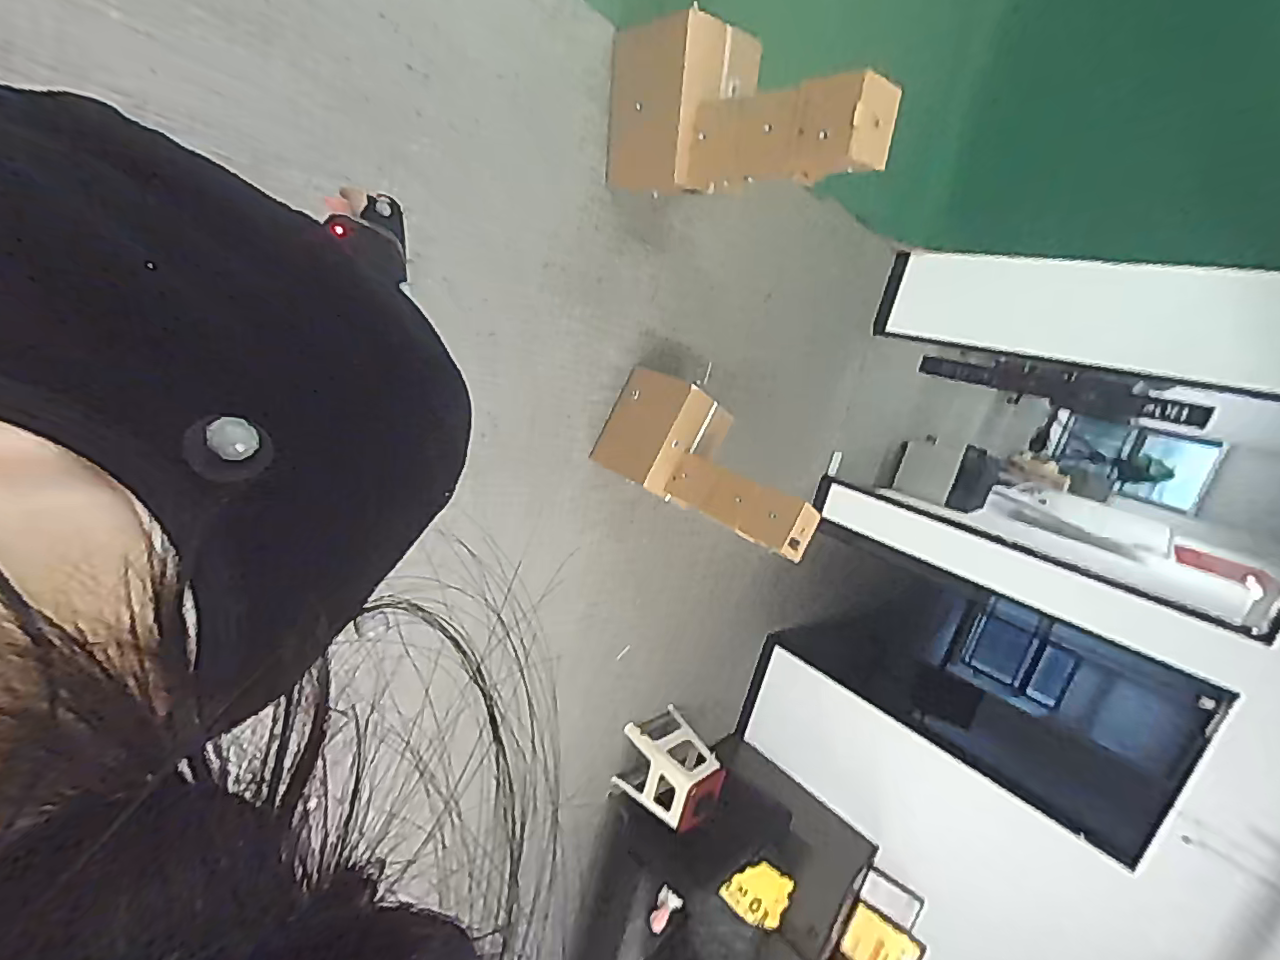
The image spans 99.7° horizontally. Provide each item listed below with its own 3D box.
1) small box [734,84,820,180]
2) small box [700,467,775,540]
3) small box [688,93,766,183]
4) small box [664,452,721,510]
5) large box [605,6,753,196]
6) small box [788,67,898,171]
[{"bbox_3d":[0.362,-0.882,1.391,0.168,0.176,0.179,-16,119,-40],"label":"small box"},{"bbox_3d":[0.328,0.080,1.857,0.168,0.176,0.179,31,86,-51],"label":"small box"},{"bbox_3d":[0.253,-0.937,1.500,0.168,0.176,0.179,-11,118,-42],"label":"small box"},{"bbox_3d":[0.221,0.016,1.960,0.179,0.176,0.168,28,88,-50],"label":"small box"},{"bbox_3d":[0.107,-1.101,1.639,0.320,0.320,0.408,-17,120,-41],"label":"large box"},{"bbox_3d":[0.473,-0.840,1.278,0.179,0.176,0.168,-15,120,-41],"label":"small box"}]
